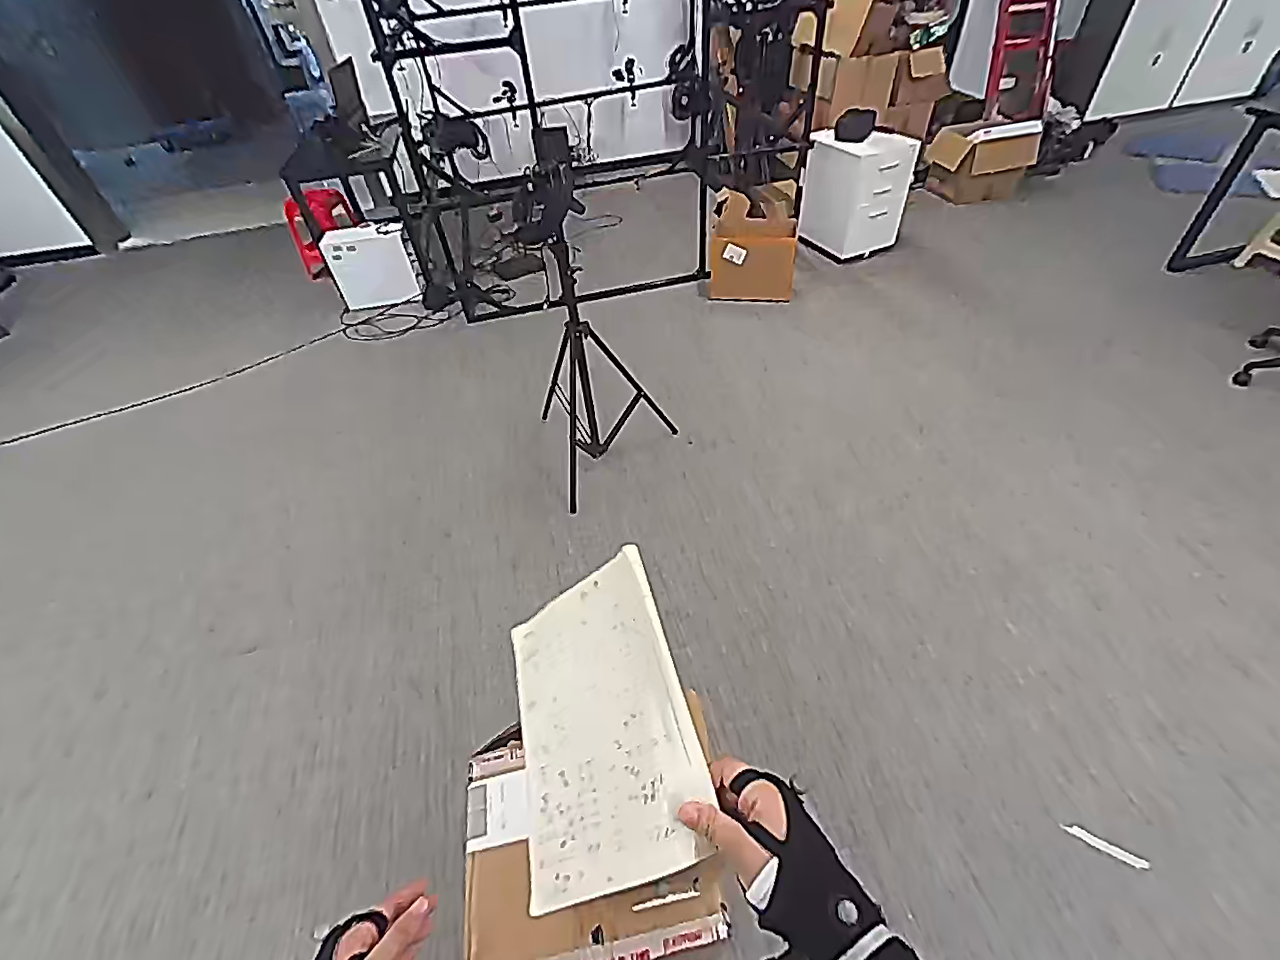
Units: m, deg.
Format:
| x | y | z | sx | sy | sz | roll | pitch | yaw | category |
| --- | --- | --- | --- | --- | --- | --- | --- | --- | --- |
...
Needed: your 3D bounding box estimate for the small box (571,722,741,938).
| x | y | z | sx | sy | sz | roll | pitch | yaw | category |
| --- | --- | --- | --- | --- | --- | --- | --- | --- | --- |
| 0.012 | 0.434 | 0.672 | 0.168 | 0.176 | 0.179 | -10 | 47 | -7 | small box |
